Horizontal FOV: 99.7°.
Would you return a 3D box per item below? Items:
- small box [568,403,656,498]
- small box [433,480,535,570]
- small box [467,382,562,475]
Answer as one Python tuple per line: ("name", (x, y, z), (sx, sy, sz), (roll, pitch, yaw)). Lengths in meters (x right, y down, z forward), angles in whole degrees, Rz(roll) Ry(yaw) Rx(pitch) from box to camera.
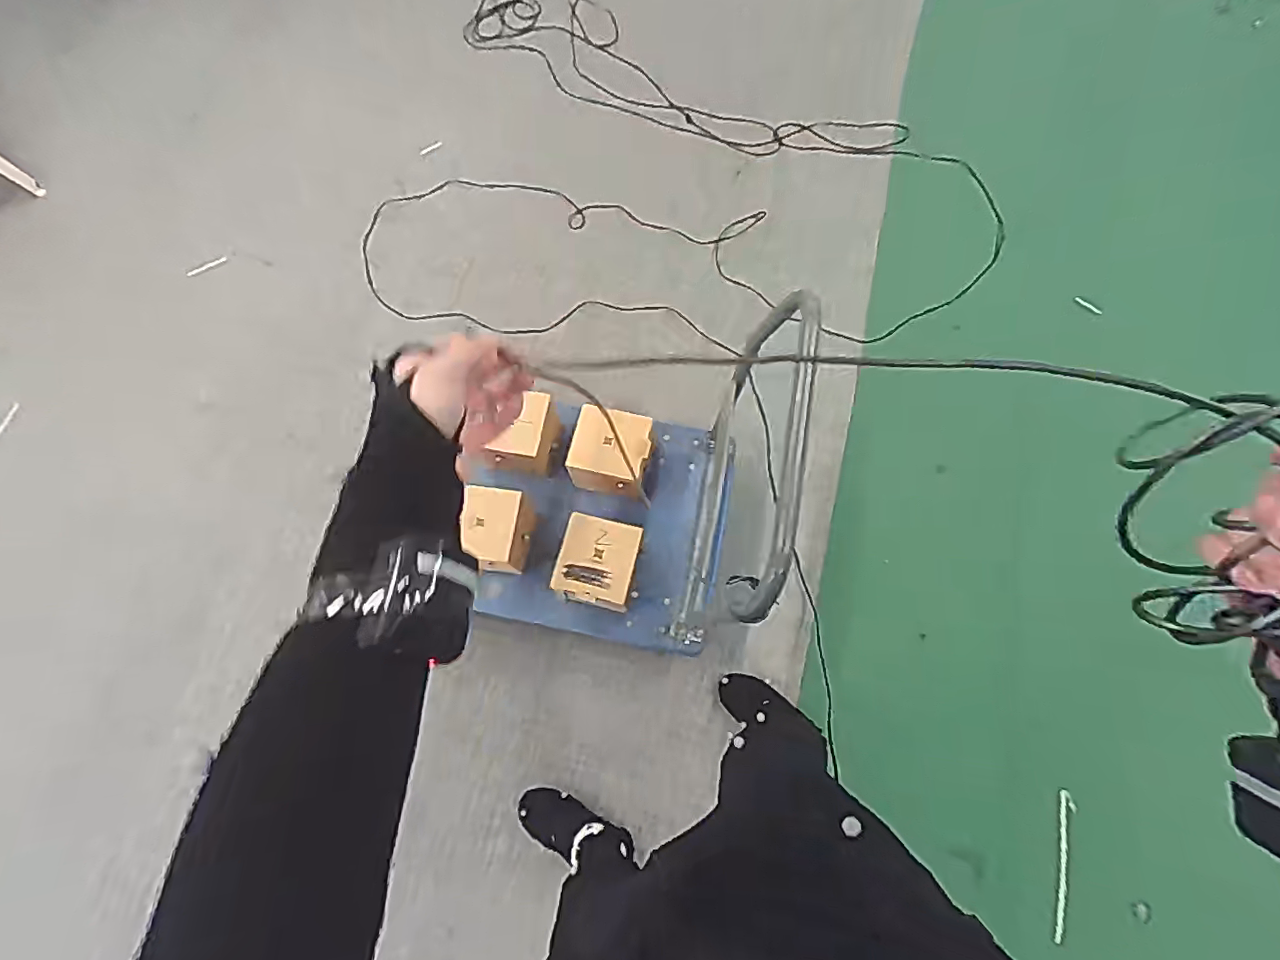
("small box", (-0.063, -0.066, 1.336), (0.179, 0.176, 0.168), (13, 72, 4))
("small box", (-0.358, 0.113, 1.278), (0.179, 0.176, 0.168), (7, 71, 3))
("small box", (-0.306, -0.123, 1.356), (0.179, 0.176, 0.168), (10, 73, 3))
